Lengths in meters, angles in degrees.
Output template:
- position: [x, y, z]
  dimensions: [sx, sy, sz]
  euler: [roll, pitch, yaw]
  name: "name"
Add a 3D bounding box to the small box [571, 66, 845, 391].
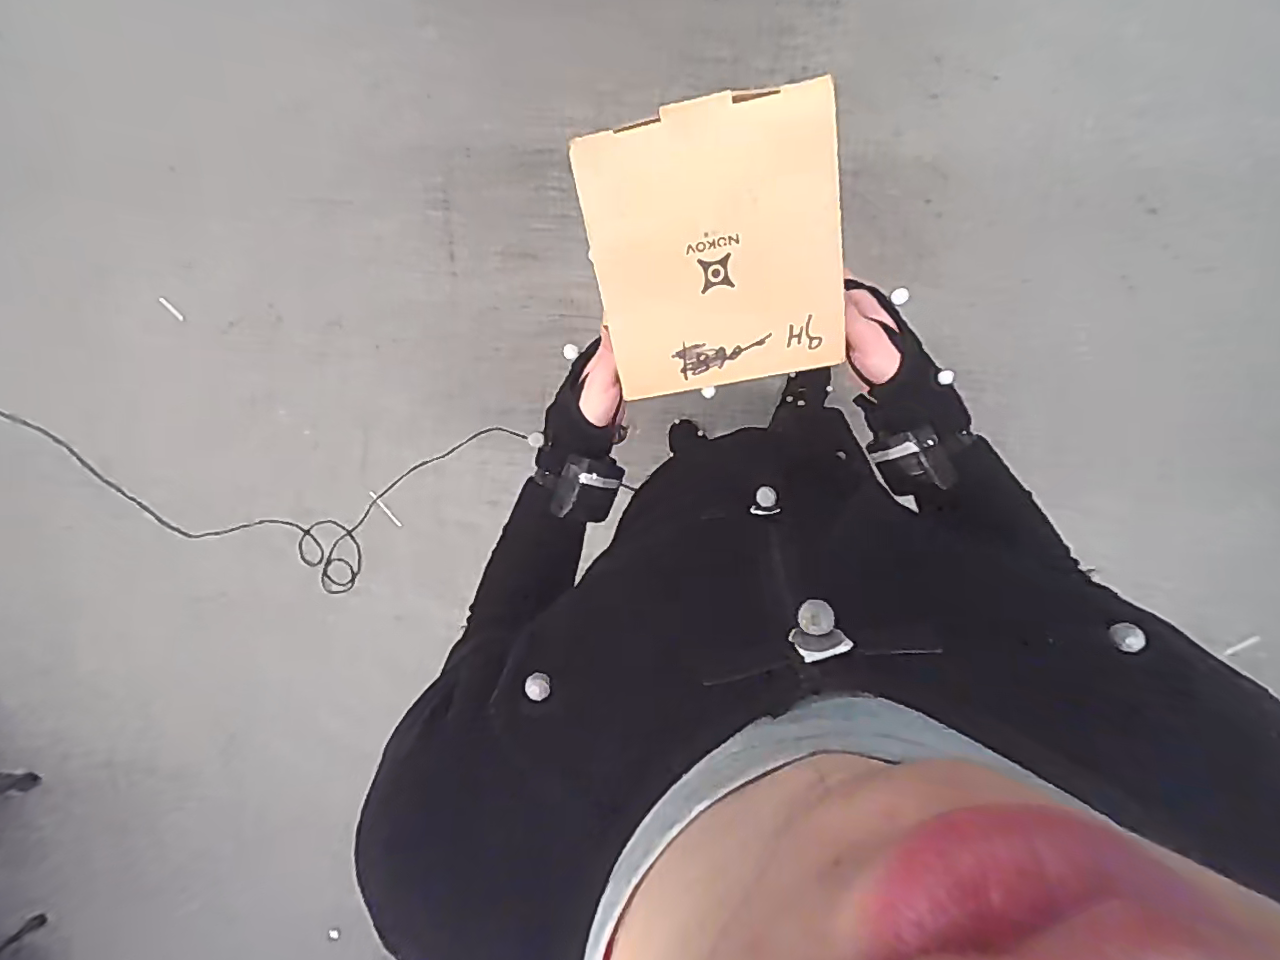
- position: [0.056, -0.189, 0.437]
  dimensions: [0.168, 0.176, 0.179]
  euler: [-9, 114, 10]
  name: "small box"
